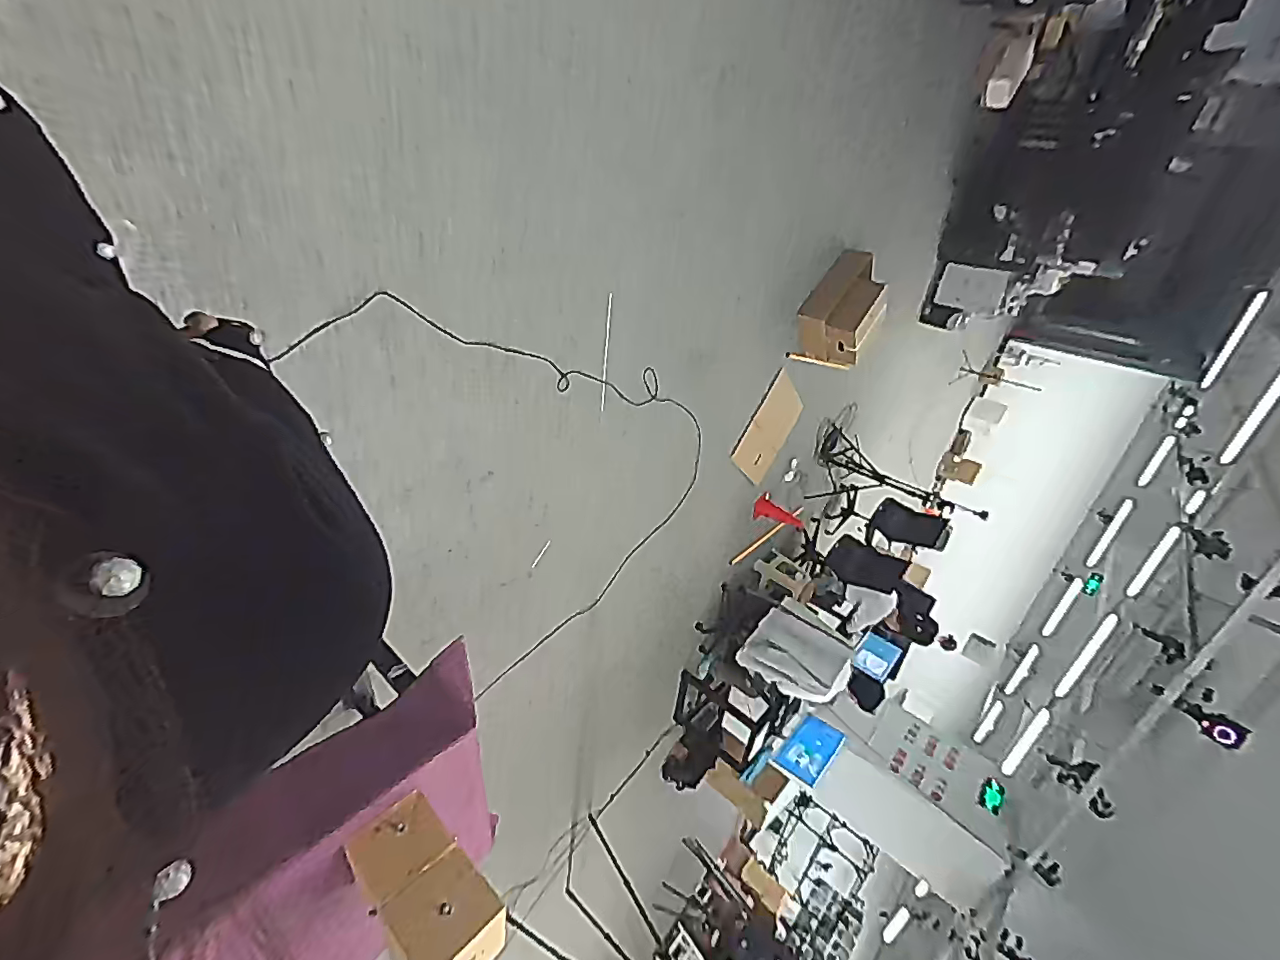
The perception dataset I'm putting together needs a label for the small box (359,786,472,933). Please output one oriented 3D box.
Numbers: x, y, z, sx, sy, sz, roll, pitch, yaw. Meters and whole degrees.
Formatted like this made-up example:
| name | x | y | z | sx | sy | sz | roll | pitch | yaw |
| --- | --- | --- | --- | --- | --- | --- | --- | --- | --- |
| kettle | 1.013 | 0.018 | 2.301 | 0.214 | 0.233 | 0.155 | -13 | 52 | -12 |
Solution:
| name | x | y | z | sx | sy | sz | roll | pitch | yaw |
| --- | --- | --- | --- | --- | --- | --- | --- | --- | --- |
| small box | -0.495 | 0.830 | 1.199 | 0.168 | 0.176 | 0.179 | -27 | 133 | -42 |
